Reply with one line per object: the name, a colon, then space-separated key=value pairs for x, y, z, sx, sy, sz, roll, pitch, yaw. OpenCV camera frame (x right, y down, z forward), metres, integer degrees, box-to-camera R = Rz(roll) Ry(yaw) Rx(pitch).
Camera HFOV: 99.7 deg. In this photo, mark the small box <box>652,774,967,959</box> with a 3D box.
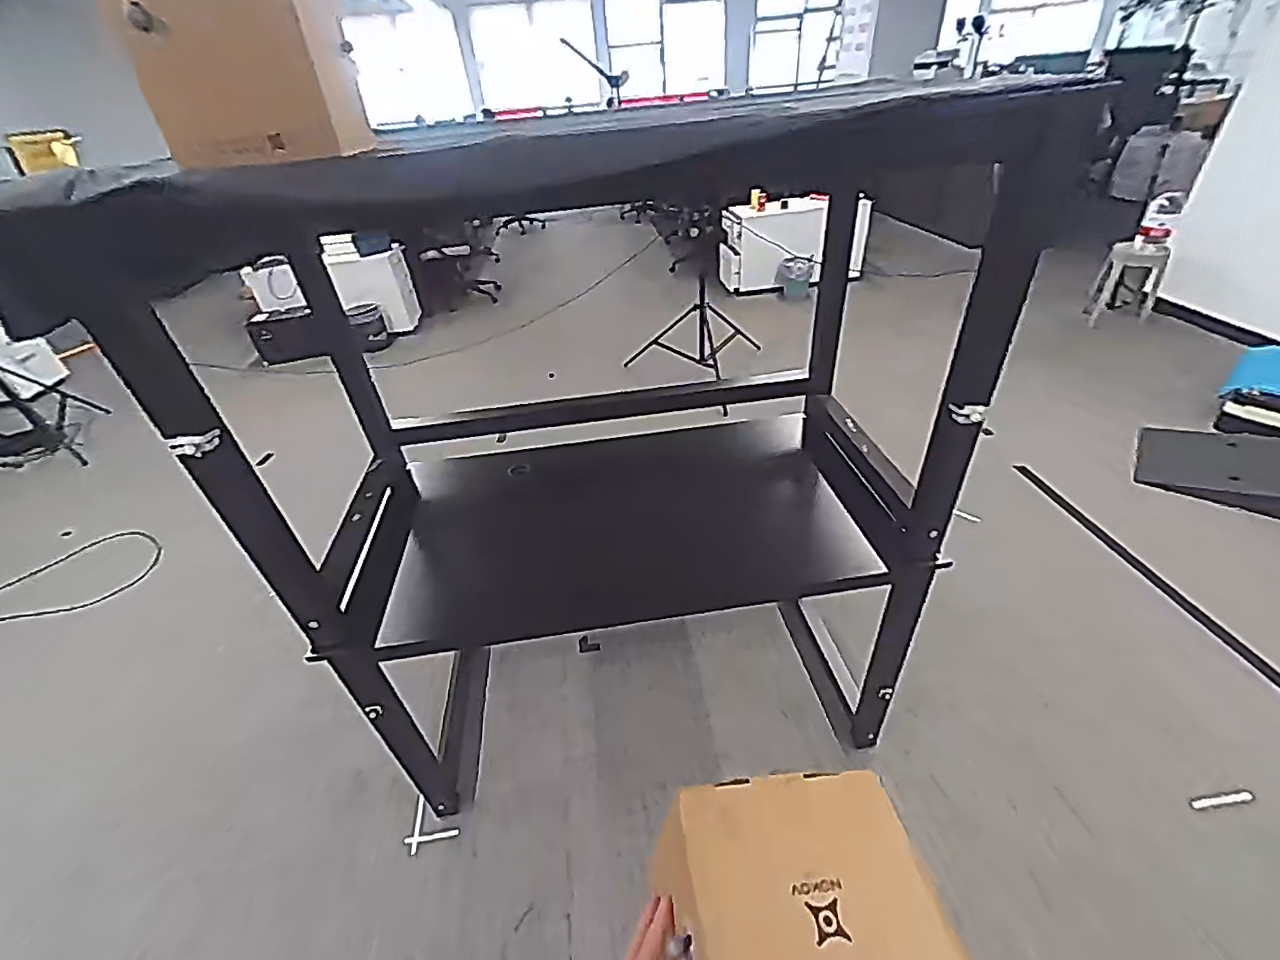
small box: x=0.109 y=0.347 z=0.388 sx=0.168 sy=0.176 sz=0.179 roll=0 pitch=35 yaw=-11
